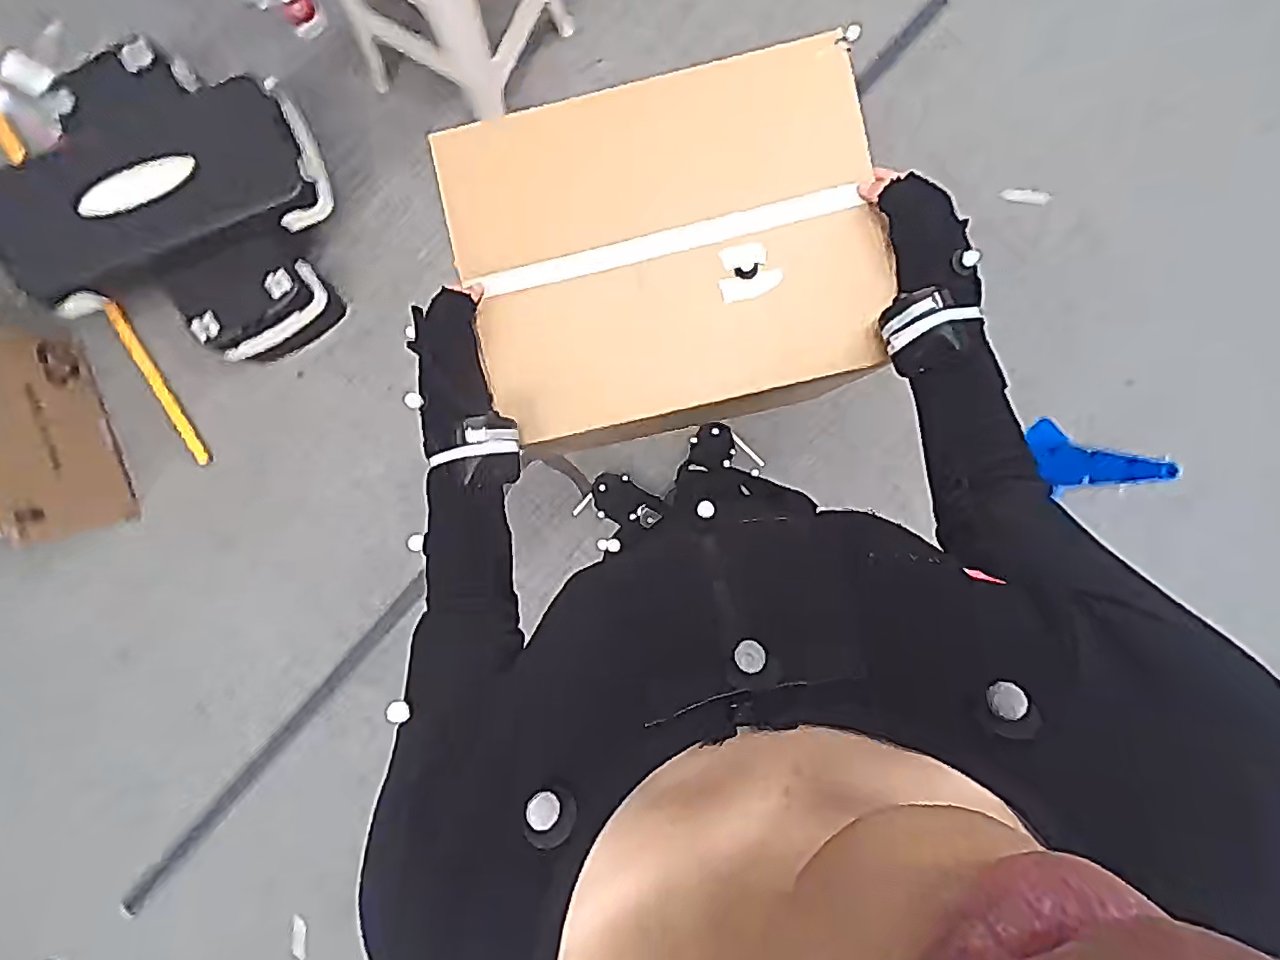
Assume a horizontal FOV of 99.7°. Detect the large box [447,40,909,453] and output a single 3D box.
[{"bbox_3d":[0.037,-0.231,0.672,0.408,0.320,0.320,-12,91,2],"label":"large box"}]
